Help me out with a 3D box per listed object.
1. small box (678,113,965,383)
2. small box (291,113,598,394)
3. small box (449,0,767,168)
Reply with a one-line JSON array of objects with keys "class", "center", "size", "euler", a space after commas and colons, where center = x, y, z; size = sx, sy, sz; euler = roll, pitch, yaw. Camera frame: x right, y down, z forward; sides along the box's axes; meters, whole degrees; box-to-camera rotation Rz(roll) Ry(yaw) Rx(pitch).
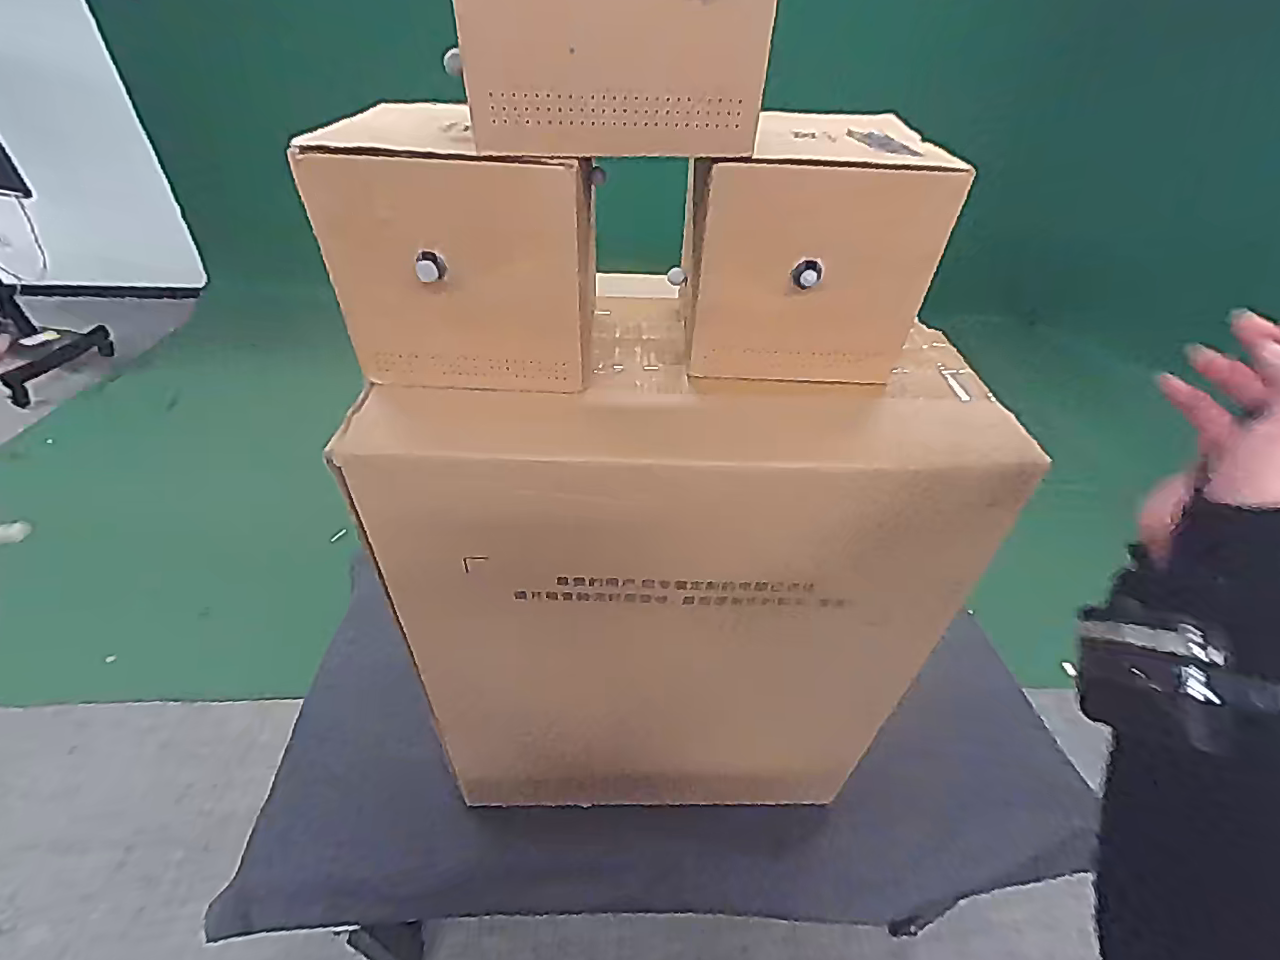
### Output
[{"class": "small box", "center": [0.128, -0.196, 0.465], "size": [0.179, 0.176, 0.168], "euler": [1, 43, 0]}, {"class": "small box", "center": [-0.129, -0.184, 0.441], "size": [0.179, 0.176, 0.168], "euler": [2, 43, -1]}, {"class": "small box", "center": [-0.025, -0.307, 0.339], "size": [0.179, 0.176, 0.168], "euler": [-6, 42, -8]}]
